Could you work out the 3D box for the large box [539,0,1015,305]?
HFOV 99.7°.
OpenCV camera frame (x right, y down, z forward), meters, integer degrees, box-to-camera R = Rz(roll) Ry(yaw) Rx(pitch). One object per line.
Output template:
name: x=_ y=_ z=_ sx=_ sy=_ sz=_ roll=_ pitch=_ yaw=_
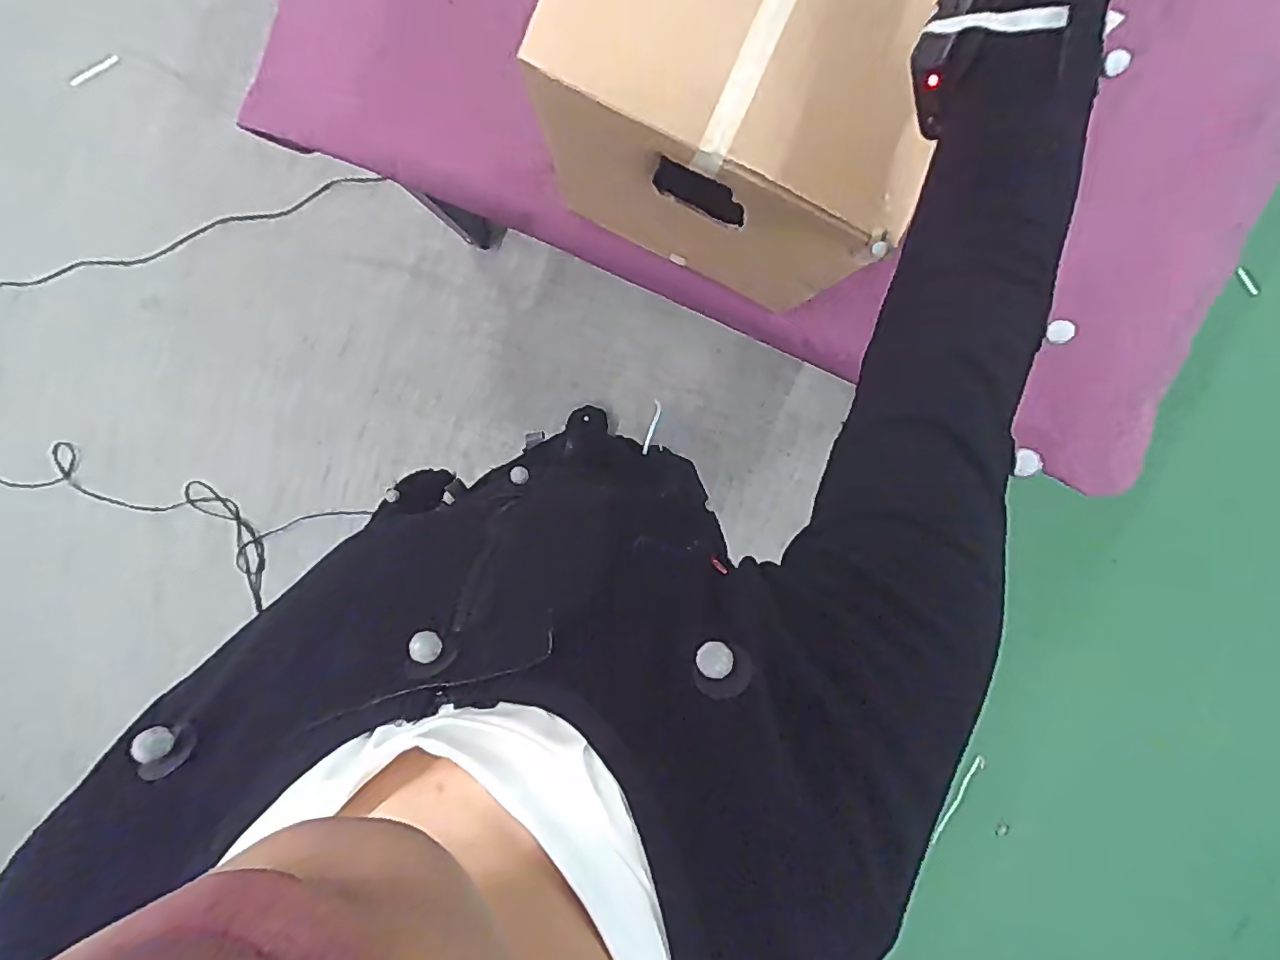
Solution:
large box: x=0.139 y=-0.447 z=0.538 sx=0.320 sy=0.320 sz=0.408 roll=26 pitch=98 yaw=-4
